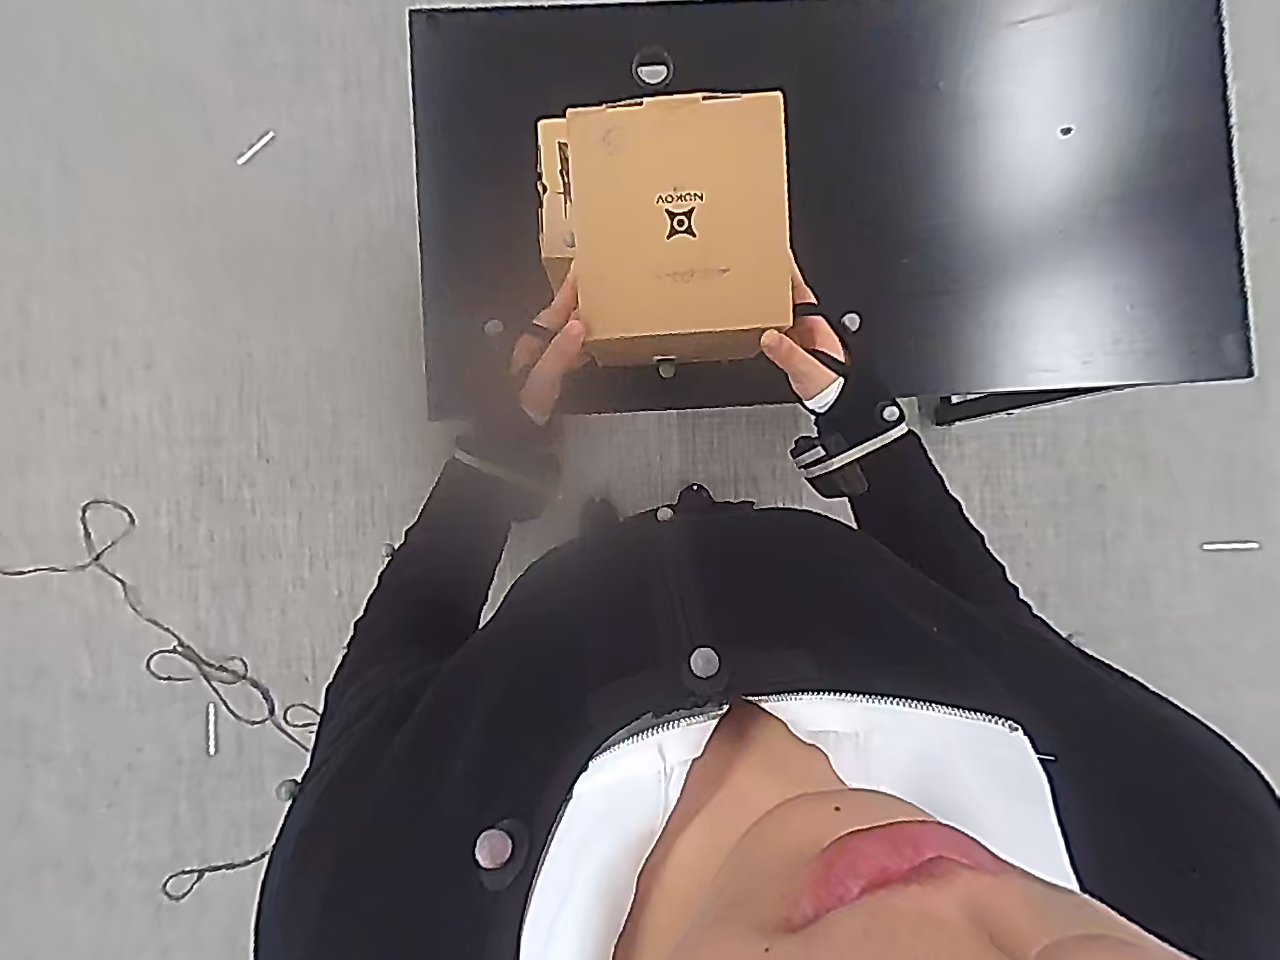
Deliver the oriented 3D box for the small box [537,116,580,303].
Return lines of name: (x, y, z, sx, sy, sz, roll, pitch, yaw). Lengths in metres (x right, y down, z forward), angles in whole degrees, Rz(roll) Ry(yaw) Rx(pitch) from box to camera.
small box: (-0.033, -0.339, 0.707, 0.179, 0.176, 0.168, -2, 89, -2)

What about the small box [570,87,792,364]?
small box: (0.032, -0.210, 0.492, 0.168, 0.176, 0.179, -4, 94, 2)
